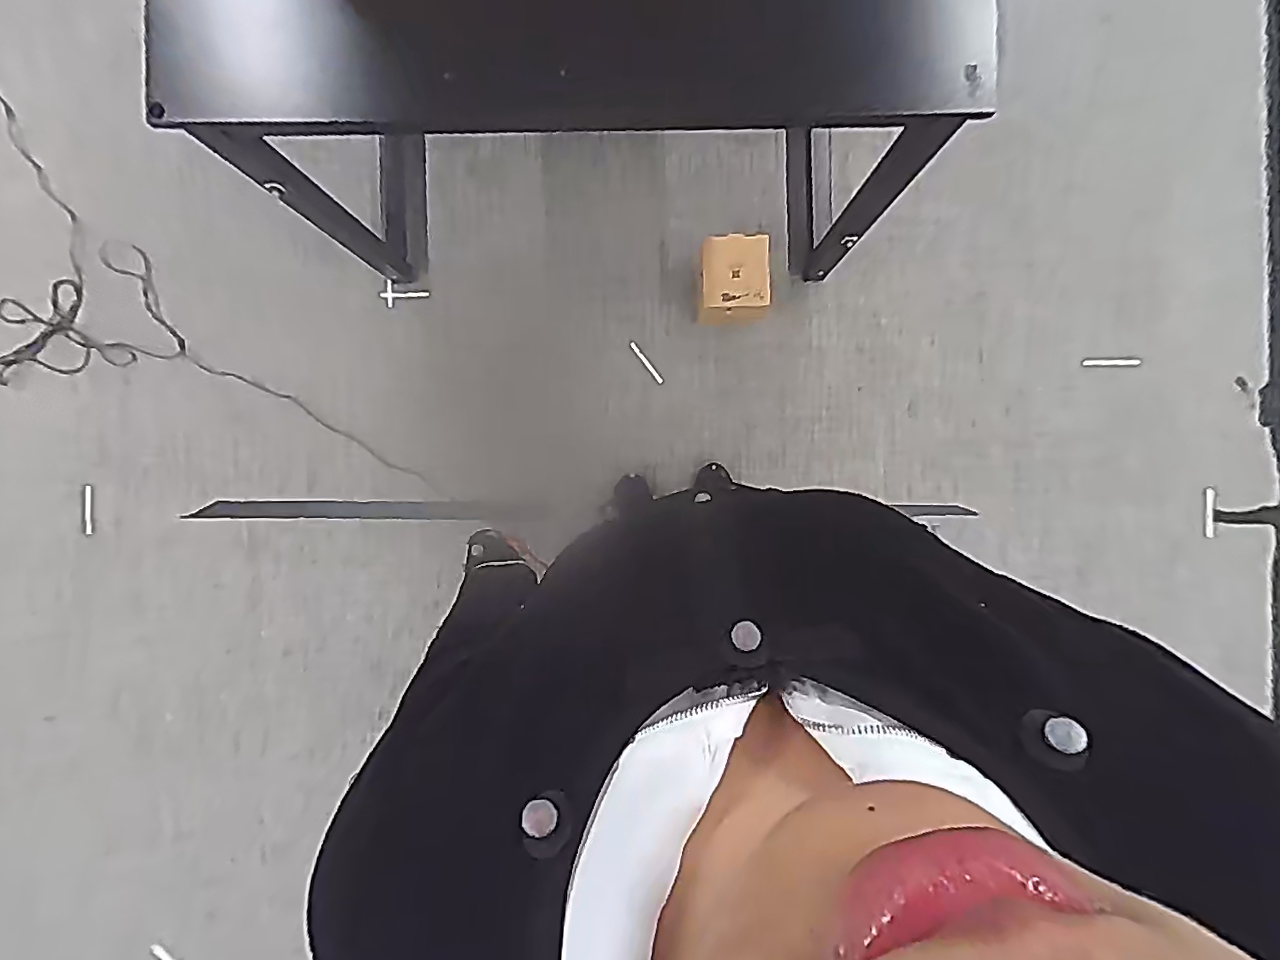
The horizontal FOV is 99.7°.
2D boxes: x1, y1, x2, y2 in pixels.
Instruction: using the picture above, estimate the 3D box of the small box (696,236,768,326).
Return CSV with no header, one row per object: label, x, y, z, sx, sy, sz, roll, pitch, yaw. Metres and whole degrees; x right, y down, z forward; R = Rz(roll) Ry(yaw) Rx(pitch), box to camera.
small box,0.234,-0.512,1.410,0.168,0.176,0.179,-1,90,2
